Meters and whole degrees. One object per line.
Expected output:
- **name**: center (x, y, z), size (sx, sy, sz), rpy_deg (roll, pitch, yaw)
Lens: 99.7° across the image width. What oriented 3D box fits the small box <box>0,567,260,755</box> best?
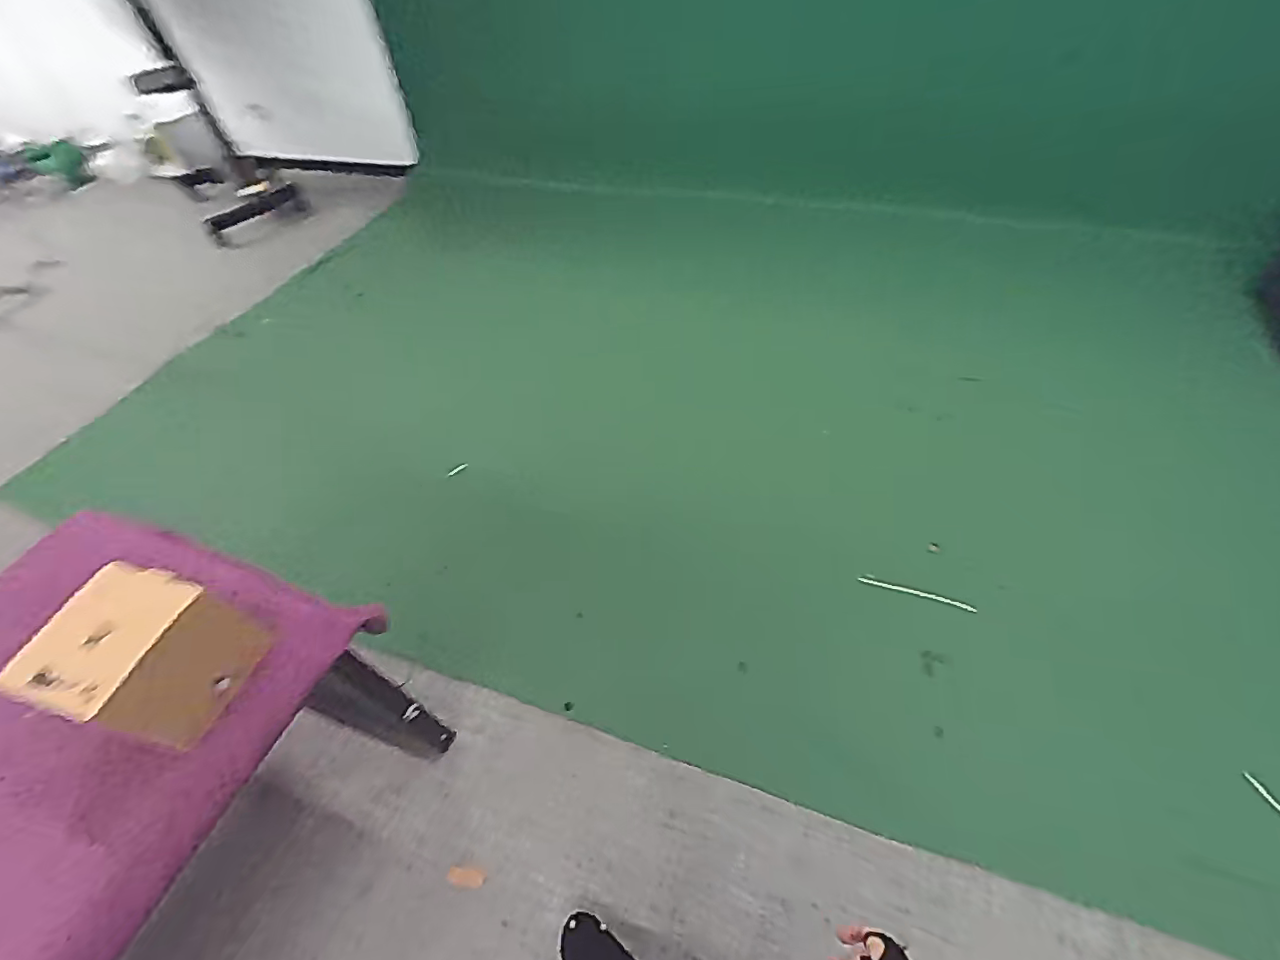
- **small box**: center (-0.675, 0.250, 0.745), size (0.168, 0.176, 0.179), rpy_deg (10, 53, 13)
